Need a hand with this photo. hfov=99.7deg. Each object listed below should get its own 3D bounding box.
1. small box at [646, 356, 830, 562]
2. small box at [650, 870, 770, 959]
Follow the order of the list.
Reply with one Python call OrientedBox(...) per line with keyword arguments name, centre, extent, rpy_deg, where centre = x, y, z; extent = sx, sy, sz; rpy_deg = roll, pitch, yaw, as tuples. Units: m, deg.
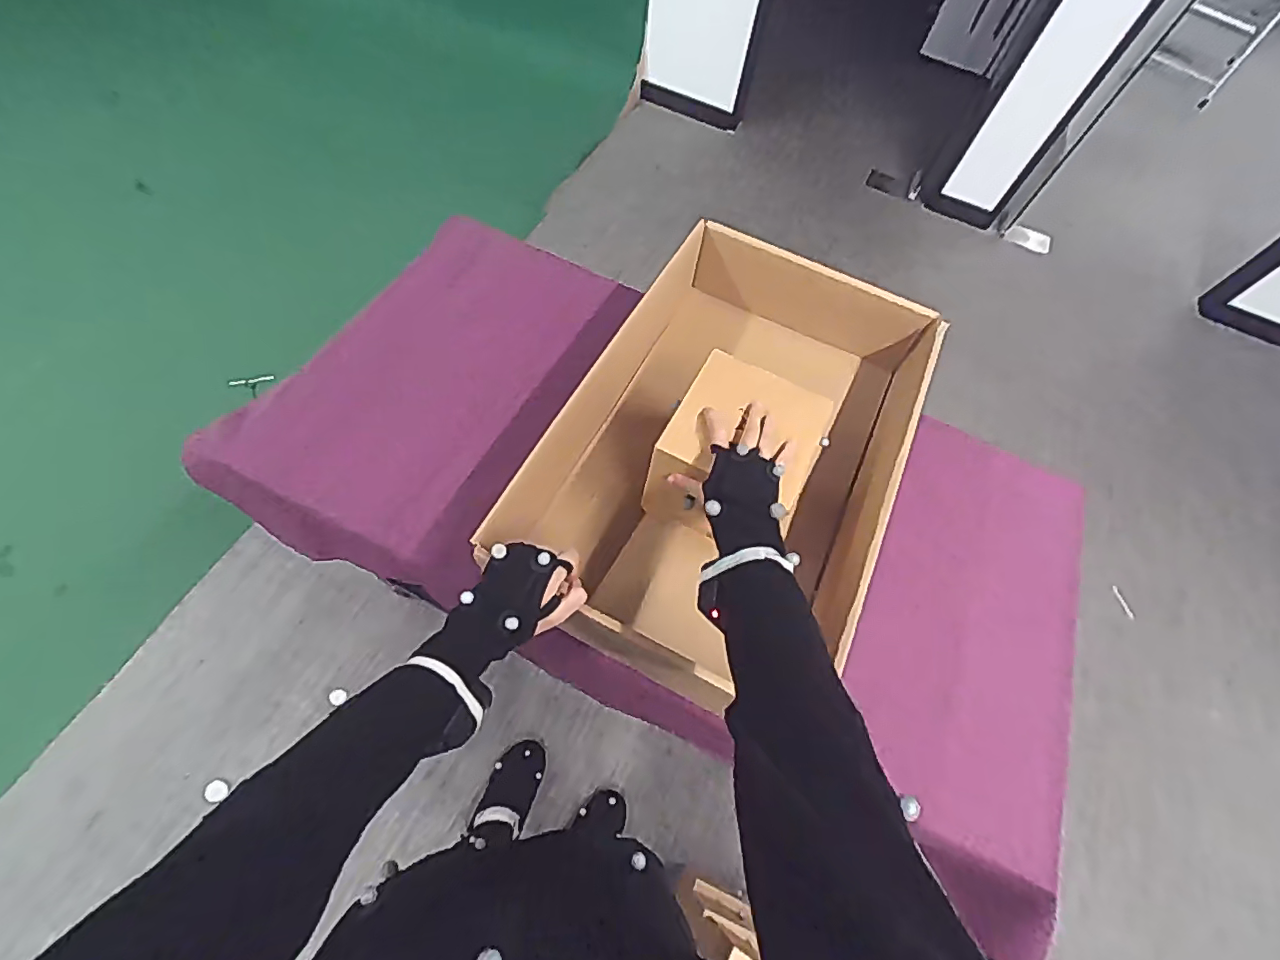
OrientedBox(name="small box", centre=(0.117, -0.020, 0.705), extent=(0.168, 0.176, 0.179), rpy_deg=(27, 61, 8))
OrientedBox(name="small box", centre=(0.136, 0.928, 1.095), extent=(0.179, 0.176, 0.168), rpy_deg=(24, 63, 7))
